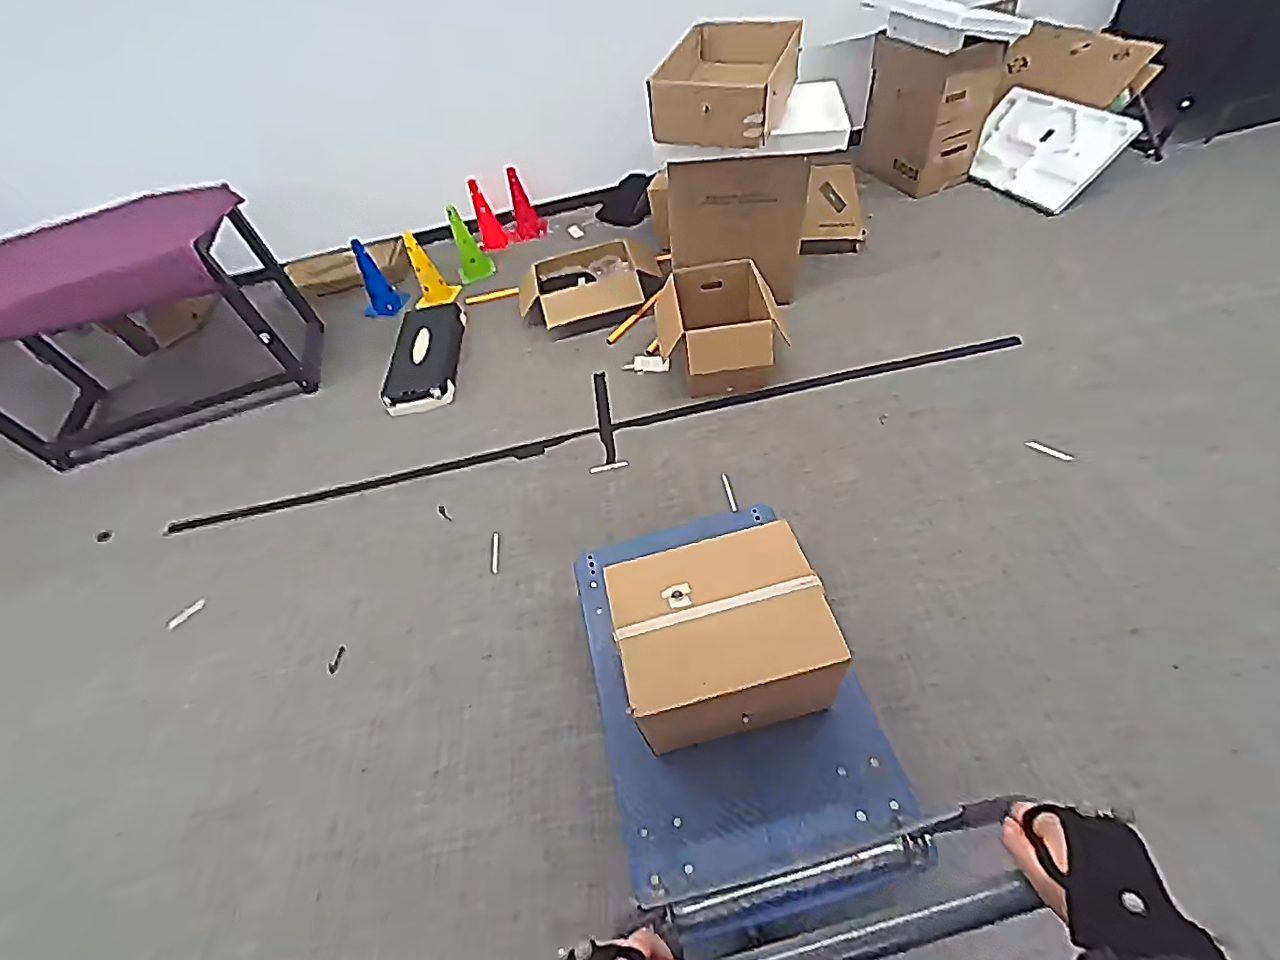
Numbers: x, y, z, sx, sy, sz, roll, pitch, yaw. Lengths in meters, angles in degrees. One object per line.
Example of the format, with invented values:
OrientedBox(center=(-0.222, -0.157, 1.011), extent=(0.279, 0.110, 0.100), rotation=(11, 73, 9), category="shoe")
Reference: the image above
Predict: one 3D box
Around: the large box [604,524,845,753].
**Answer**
OrientedBox(center=(0.172, 0.351, 1.175), extent=(0.408, 0.320, 0.320), rotation=(-16, 50, -1), category="large box")
